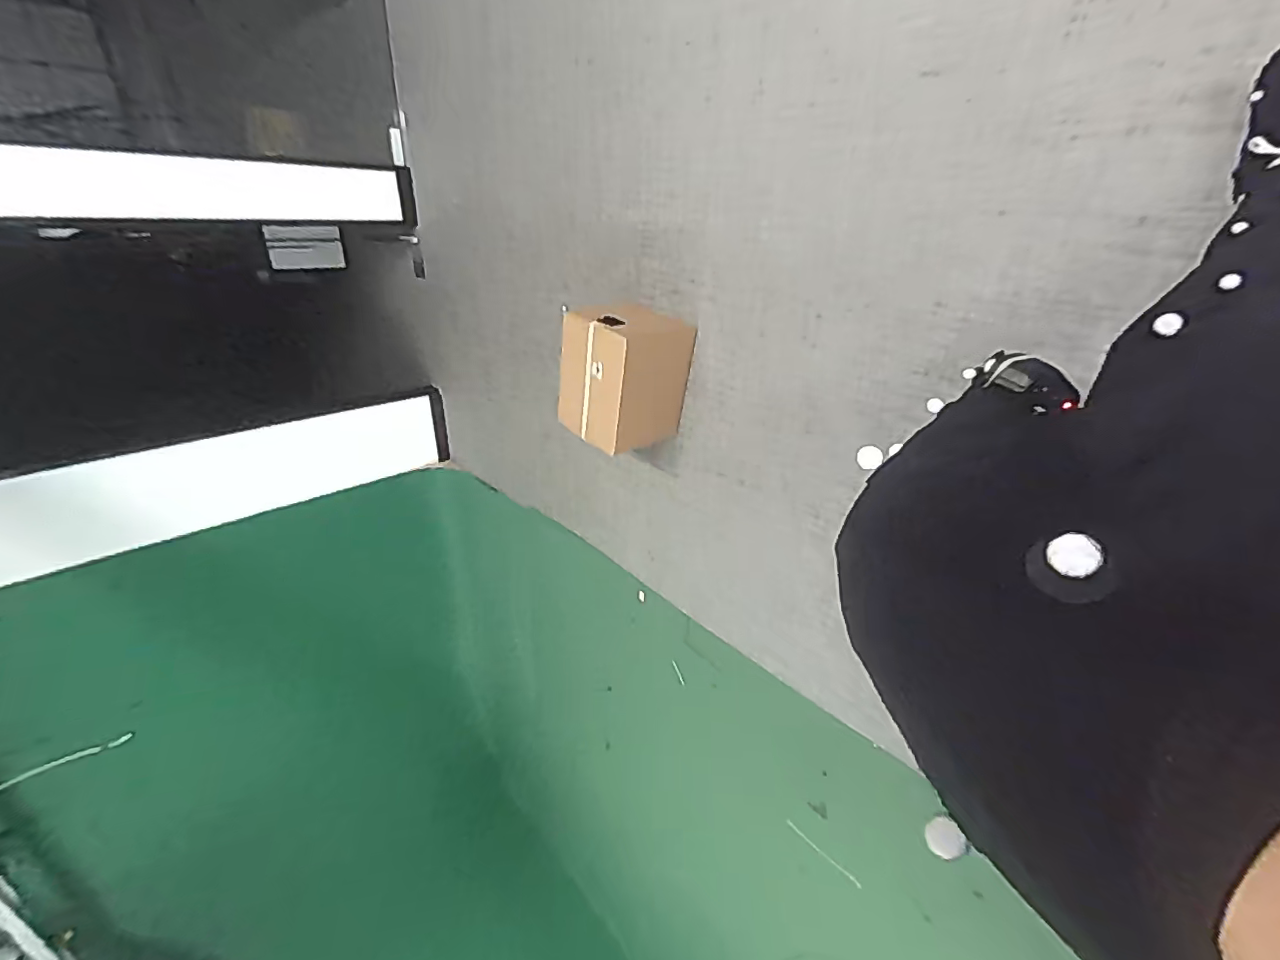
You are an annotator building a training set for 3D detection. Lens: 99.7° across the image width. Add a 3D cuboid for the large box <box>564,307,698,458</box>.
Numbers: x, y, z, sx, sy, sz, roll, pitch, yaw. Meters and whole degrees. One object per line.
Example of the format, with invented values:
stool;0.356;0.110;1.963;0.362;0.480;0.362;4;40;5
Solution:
large box;-0.040;-0.343;1.842;0.320;0.320;0.408;33;128;35
